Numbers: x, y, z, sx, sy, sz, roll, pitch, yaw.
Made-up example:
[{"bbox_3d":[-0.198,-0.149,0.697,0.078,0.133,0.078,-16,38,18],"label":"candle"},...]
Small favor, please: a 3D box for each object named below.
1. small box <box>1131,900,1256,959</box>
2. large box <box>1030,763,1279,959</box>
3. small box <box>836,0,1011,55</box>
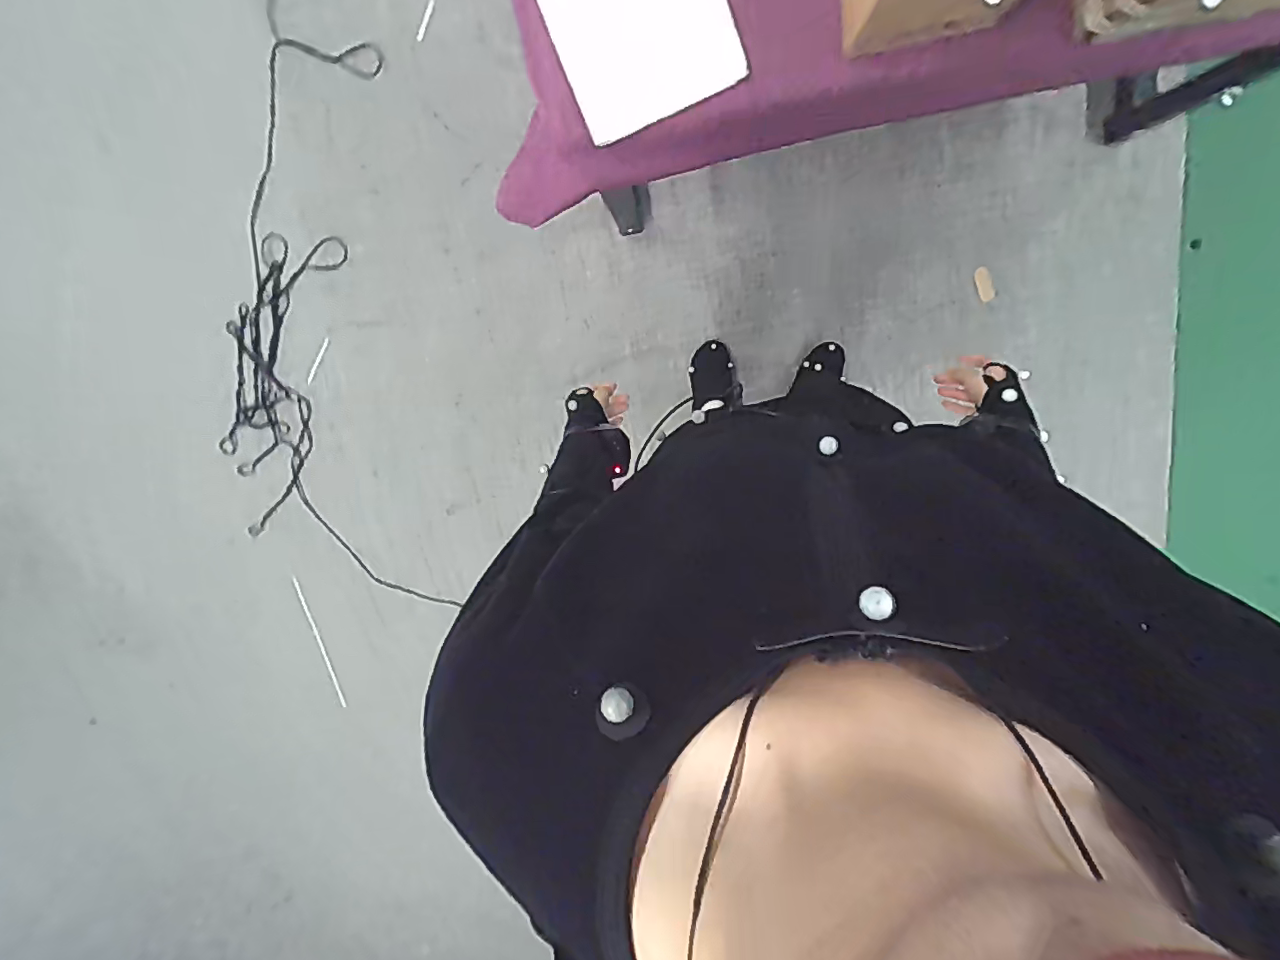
[{"bbox_3d":[1.325,1.154,1.288,0.179,0.176,0.168,-19,101,9],"label":"small box"},{"bbox_3d":[1.428,1.081,1.517,0.408,0.320,0.320,-24,101,8],"label":"large box"},{"bbox_3d":[0.296,-0.560,0.530,0.168,0.176,0.179,-8,101,6],"label":"small box"}]
